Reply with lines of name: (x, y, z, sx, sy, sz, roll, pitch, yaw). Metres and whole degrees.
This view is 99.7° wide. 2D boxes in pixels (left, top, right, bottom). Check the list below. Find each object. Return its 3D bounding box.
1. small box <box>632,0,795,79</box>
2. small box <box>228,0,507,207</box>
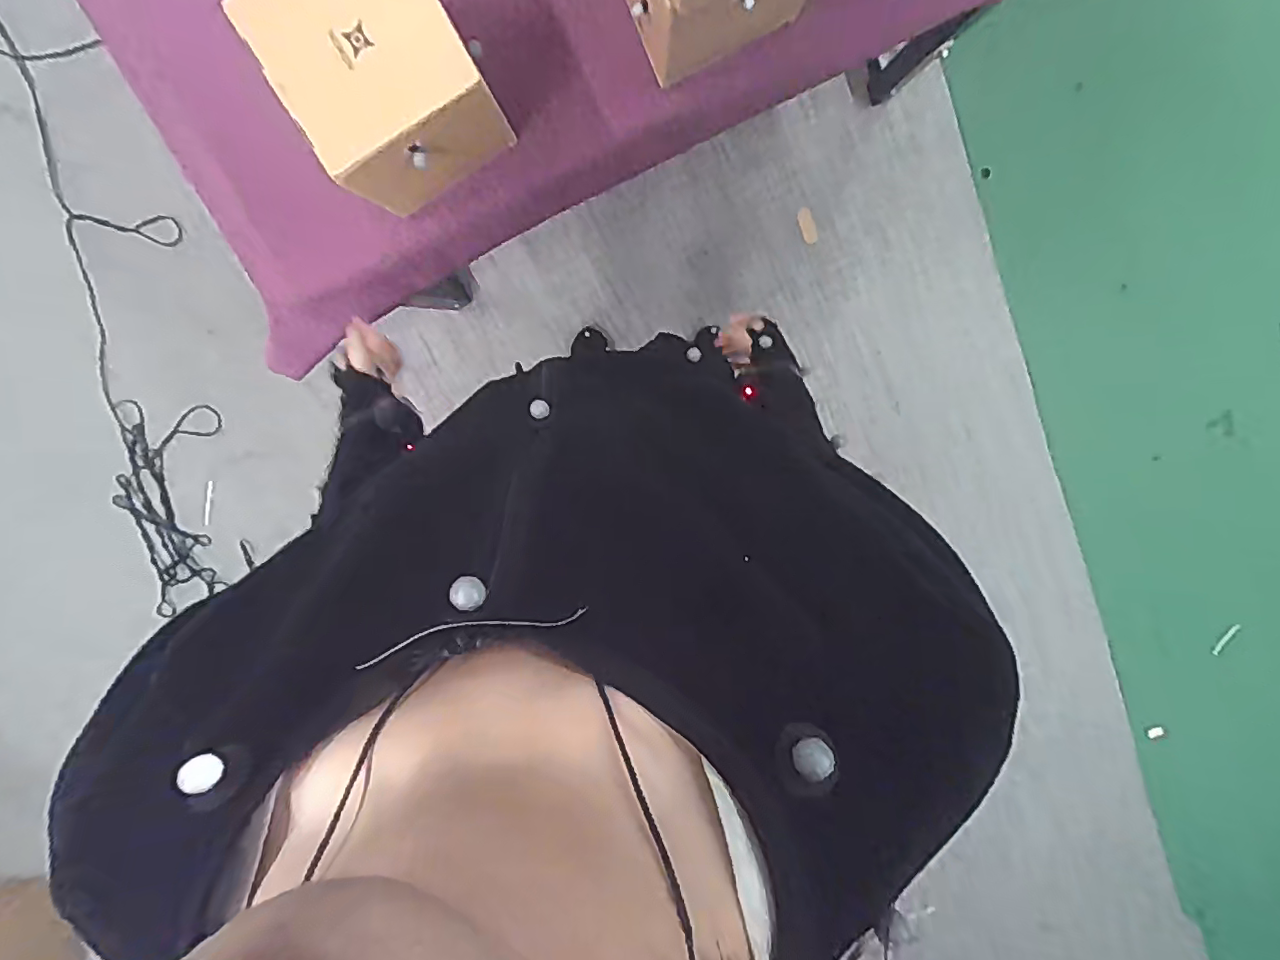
small box: (0.069, -0.552, 0.539, 0.179, 0.176, 0.168, -24, 104, 6)
small box: (-0.260, -0.422, 0.572, 0.179, 0.176, 0.168, -28, 104, 8)
